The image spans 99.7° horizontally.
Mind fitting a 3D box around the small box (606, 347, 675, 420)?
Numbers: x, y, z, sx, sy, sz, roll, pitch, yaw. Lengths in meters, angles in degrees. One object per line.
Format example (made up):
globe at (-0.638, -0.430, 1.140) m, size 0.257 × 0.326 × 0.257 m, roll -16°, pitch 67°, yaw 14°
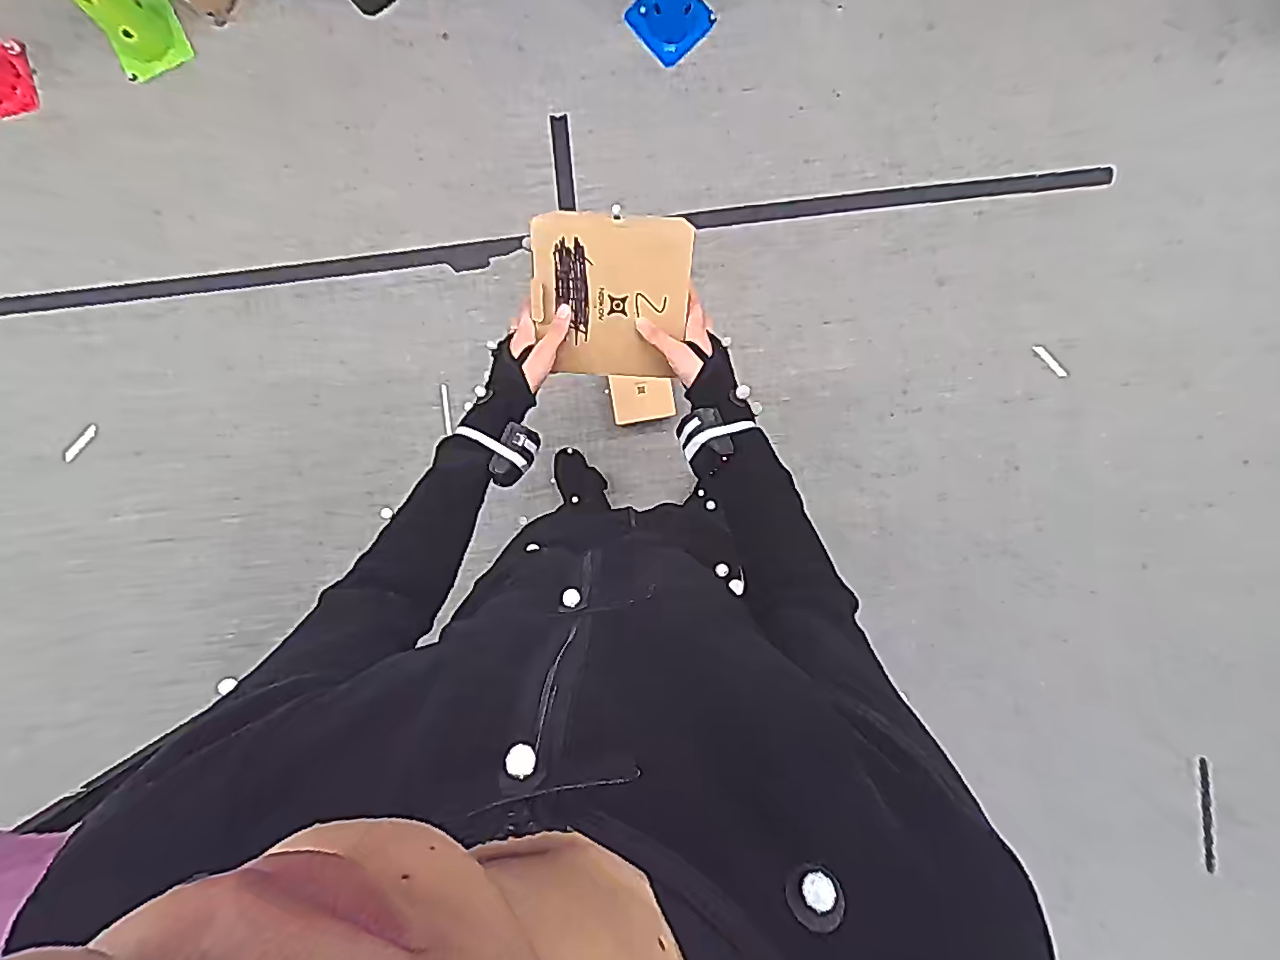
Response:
small box at (0.003, -0.265, 1.520) m, size 0.168 × 0.176 × 0.179 m, roll -10°, pitch 94°, yaw 0°
